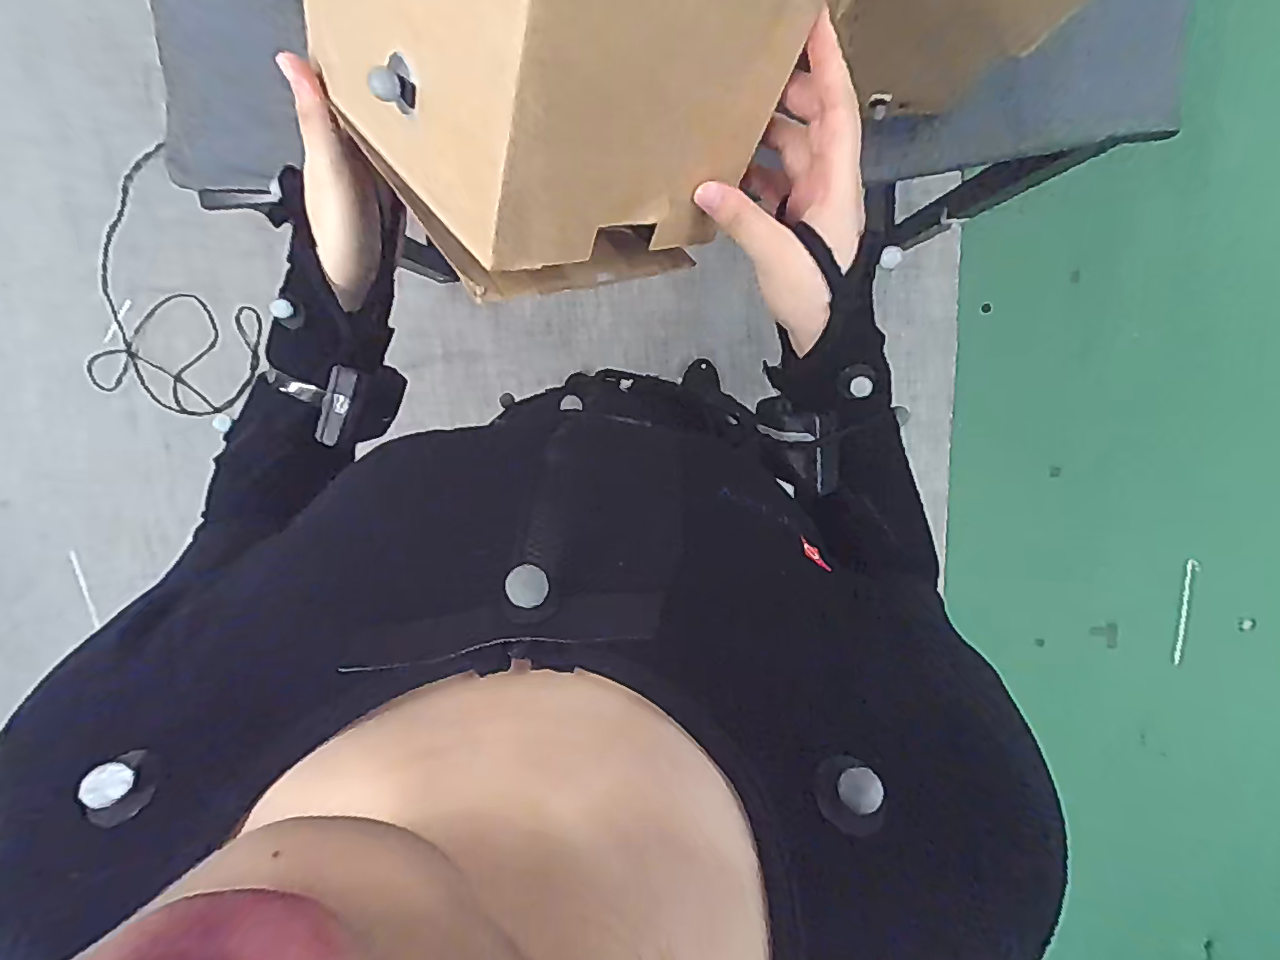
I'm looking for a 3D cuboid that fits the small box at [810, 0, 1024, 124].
[{"bbox_3d":[0.278,-0.500,0.552,0.168,0.176,0.179,-1,101,3],"label":"small box"}]

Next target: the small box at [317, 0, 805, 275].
[{"bbox_3d":[-0.040,-0.230,0.257,0.179,0.168,0.176,49,139,17],"label":"small box"}]

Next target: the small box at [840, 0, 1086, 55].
[{"bbox_3d":[0.273,-0.455,0.396,0.179,0.176,0.168,9,101,2],"label":"small box"}]
